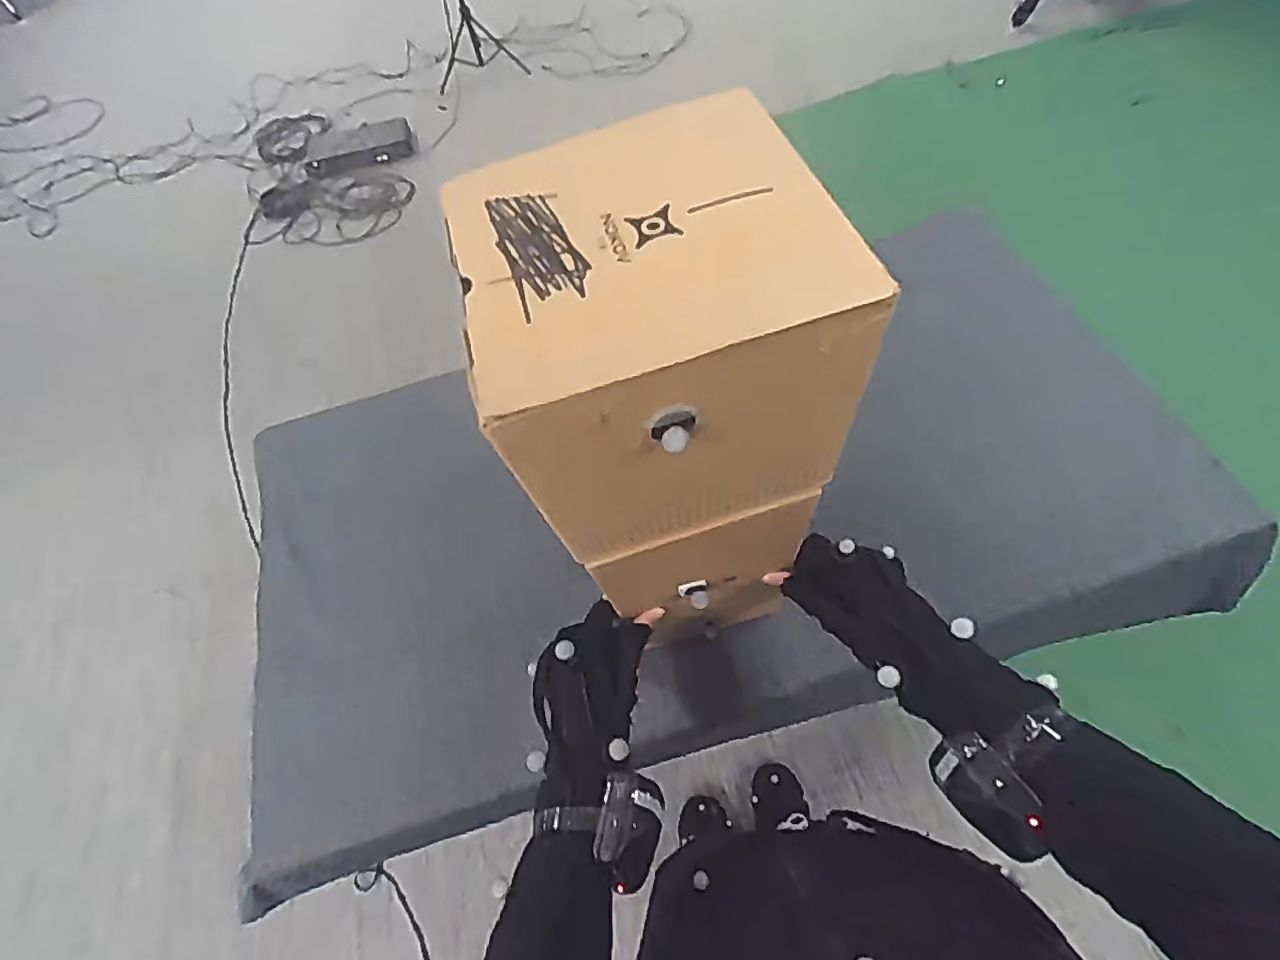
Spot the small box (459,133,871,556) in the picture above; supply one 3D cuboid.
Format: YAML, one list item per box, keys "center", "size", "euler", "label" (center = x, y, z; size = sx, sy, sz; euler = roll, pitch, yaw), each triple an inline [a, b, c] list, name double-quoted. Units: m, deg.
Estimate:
- center: [0.010, -0.069, 0.341]
  size: [0.179, 0.176, 0.168]
  euler: [-17, 62, -1]
  label: "small box"

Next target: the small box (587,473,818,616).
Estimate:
- center: [0.030, -0.002, 0.472]
  size: [0.168, 0.176, 0.179]
  euler: [-18, 63, -1]
  label: "small box"

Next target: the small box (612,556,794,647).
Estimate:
- center: [0.050, 0.075, 0.614]
  size: [0.179, 0.176, 0.168]
  euler: [-16, 61, -2]
  label: "small box"
